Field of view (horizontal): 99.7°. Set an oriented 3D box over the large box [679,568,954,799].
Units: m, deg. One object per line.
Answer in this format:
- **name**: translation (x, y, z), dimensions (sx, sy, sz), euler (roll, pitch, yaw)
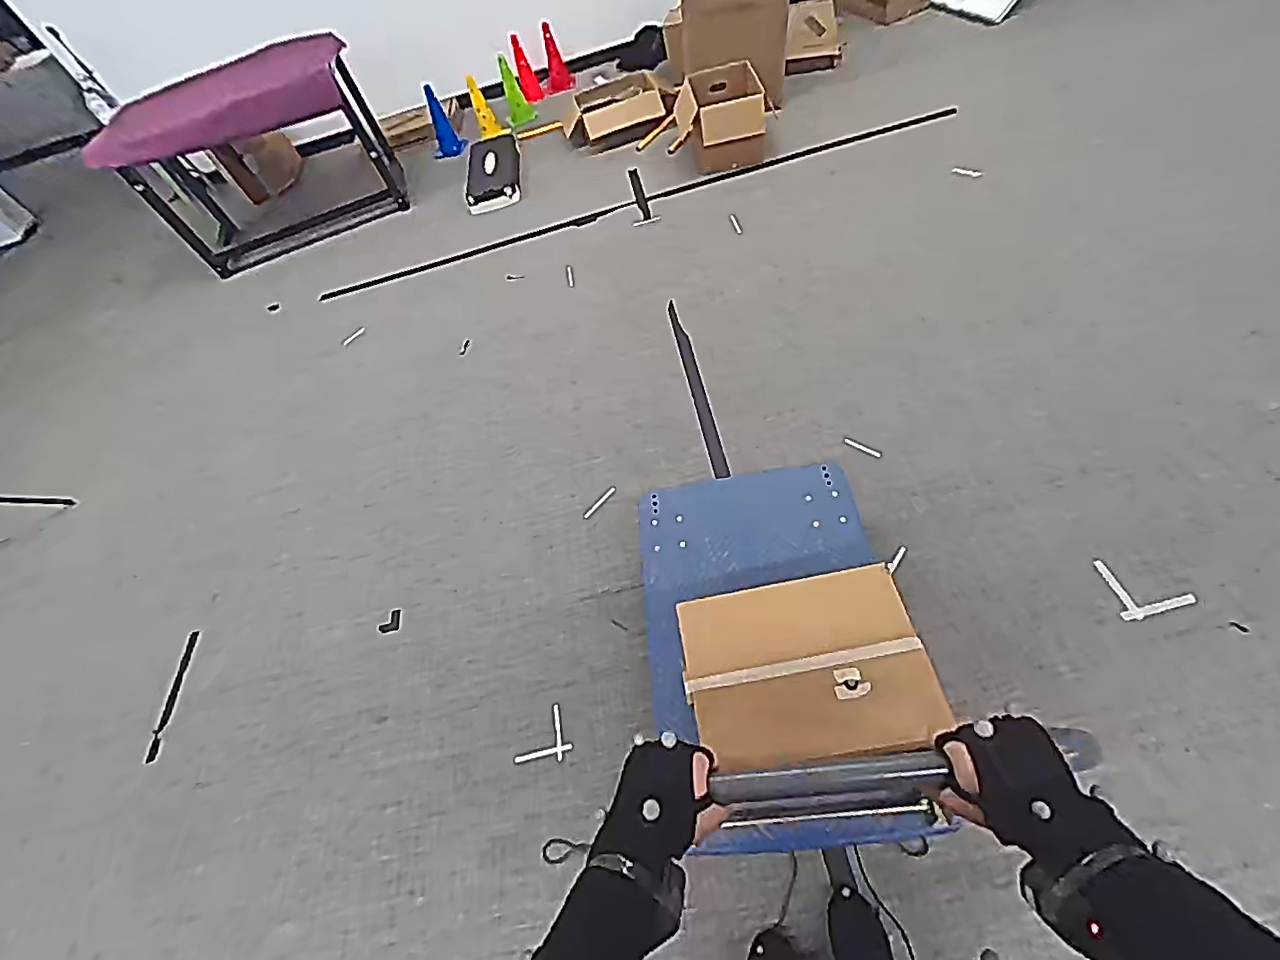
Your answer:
- **large box**: translation (0.313, 0.415, 1.076), dimensions (0.408, 0.320, 0.320), euler (-12, 55, 4)
